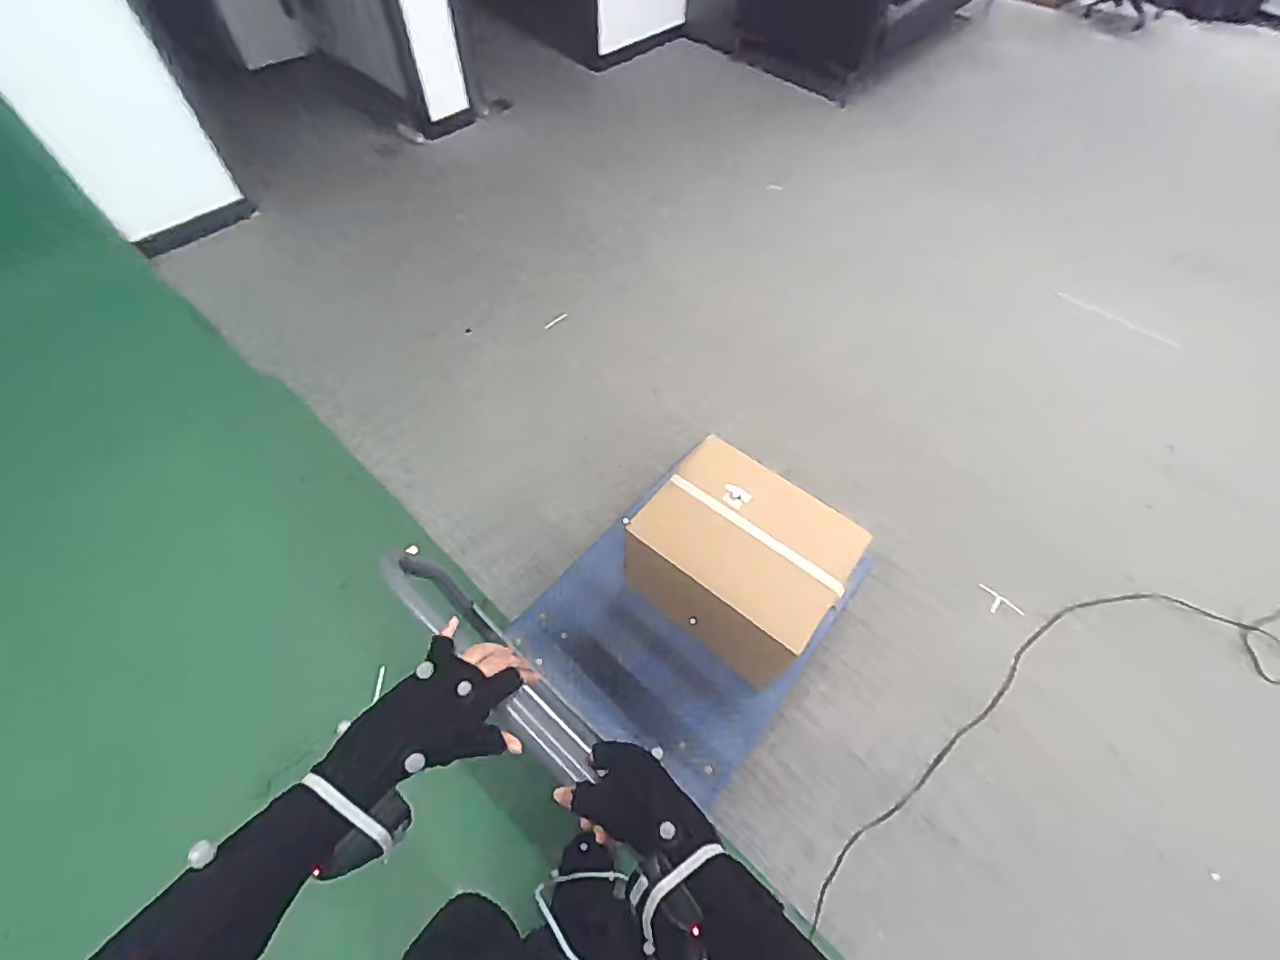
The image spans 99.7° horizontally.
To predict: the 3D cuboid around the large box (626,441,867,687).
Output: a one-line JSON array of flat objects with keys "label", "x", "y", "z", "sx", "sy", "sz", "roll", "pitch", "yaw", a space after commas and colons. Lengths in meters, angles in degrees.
[{"label": "large box", "x": 0.216, "y": 0.192, "z": 1.221, "sx": 0.408, "sy": 0.320, "sz": 0.320, "roll": 34, "pitch": 61, "yaw": 19}]
